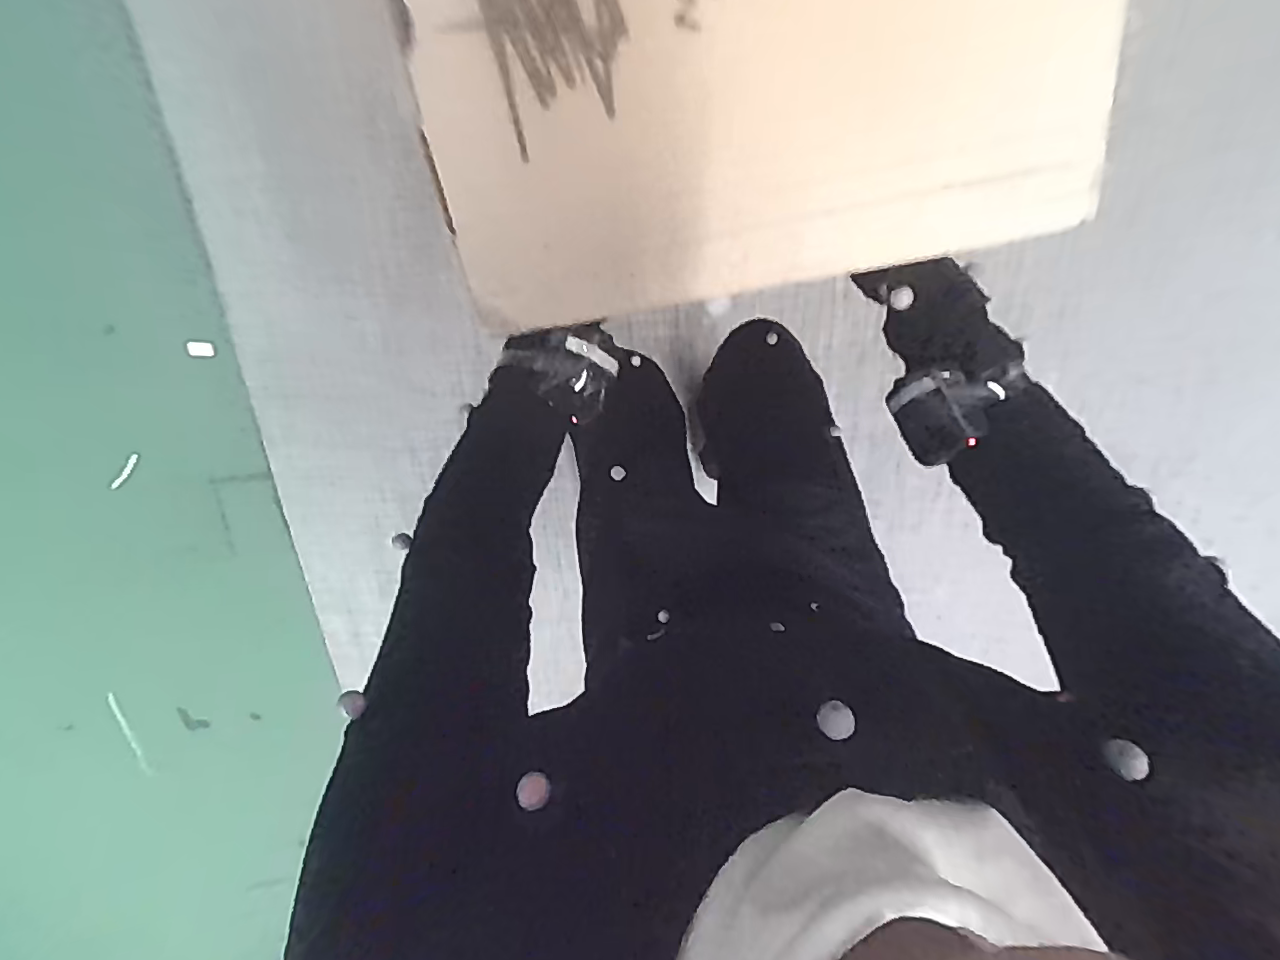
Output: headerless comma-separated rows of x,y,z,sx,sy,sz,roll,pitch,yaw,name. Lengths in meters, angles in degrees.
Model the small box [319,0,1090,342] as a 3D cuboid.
0.016,-0.157,0.189,0.179,0.176,0.168,-6,116,12,small box
